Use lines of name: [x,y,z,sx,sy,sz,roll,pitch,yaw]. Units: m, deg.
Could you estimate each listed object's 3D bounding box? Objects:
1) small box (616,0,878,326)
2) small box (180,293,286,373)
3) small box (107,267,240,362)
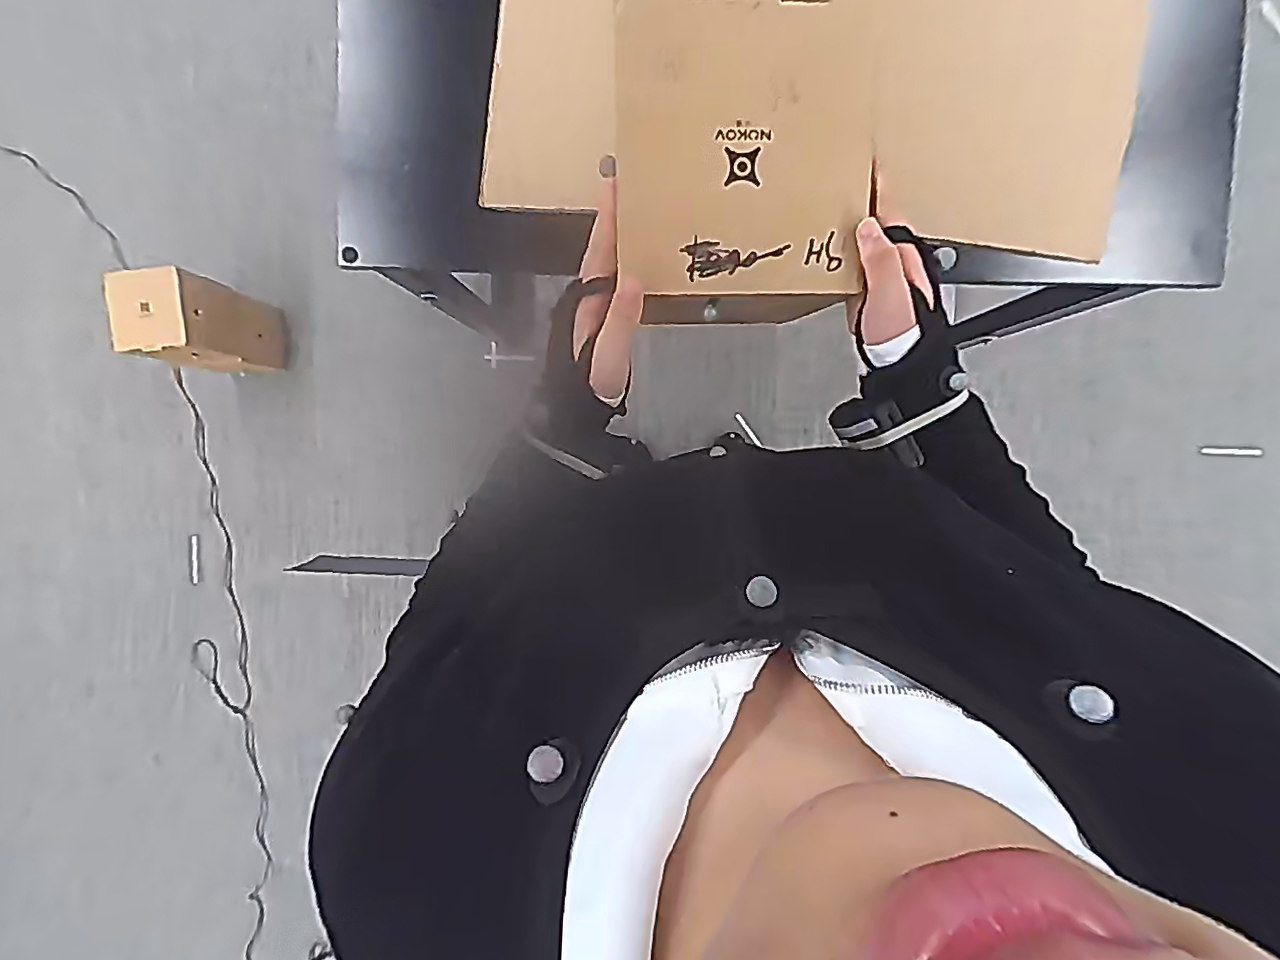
small box: [0.065,-0.222,0.422,0.168,0.176,0.179,-1,99,-1]
small box: [-1.072,-0.383,1.428,0.168,0.176,0.179,-2,94,2]
small box: [-1.079,-0.378,1.266,0.168,0.176,0.179,-5,93,1]
